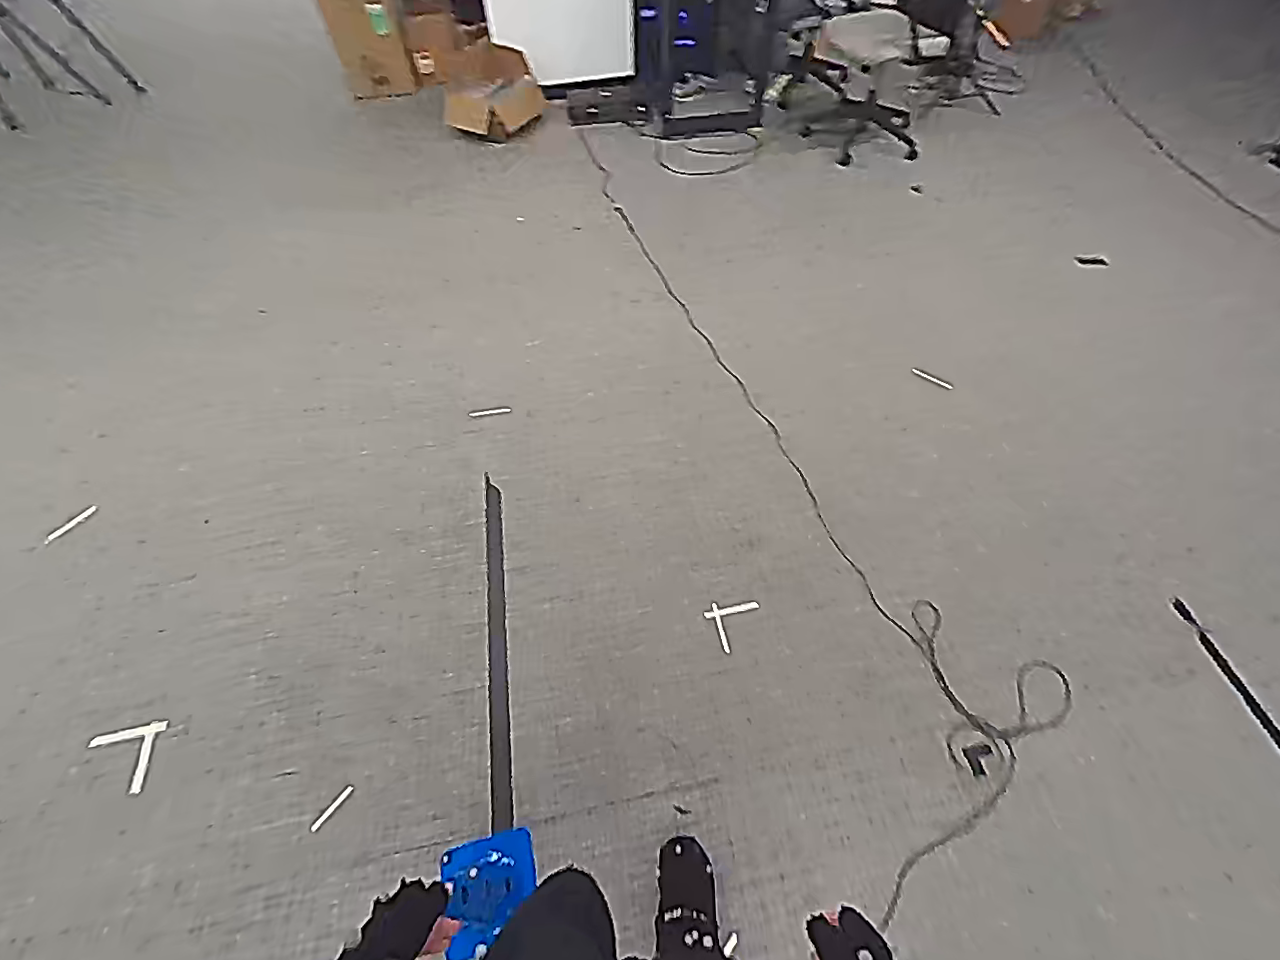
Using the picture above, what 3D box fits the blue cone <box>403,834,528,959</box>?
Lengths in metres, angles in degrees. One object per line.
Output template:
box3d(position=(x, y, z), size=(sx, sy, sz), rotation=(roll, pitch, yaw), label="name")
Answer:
box3d(position=(-0.343, 0.783, 1.012), size=(0.192, 0.380, 0.193), rotation=(-12, 55, -6), label="blue cone")
